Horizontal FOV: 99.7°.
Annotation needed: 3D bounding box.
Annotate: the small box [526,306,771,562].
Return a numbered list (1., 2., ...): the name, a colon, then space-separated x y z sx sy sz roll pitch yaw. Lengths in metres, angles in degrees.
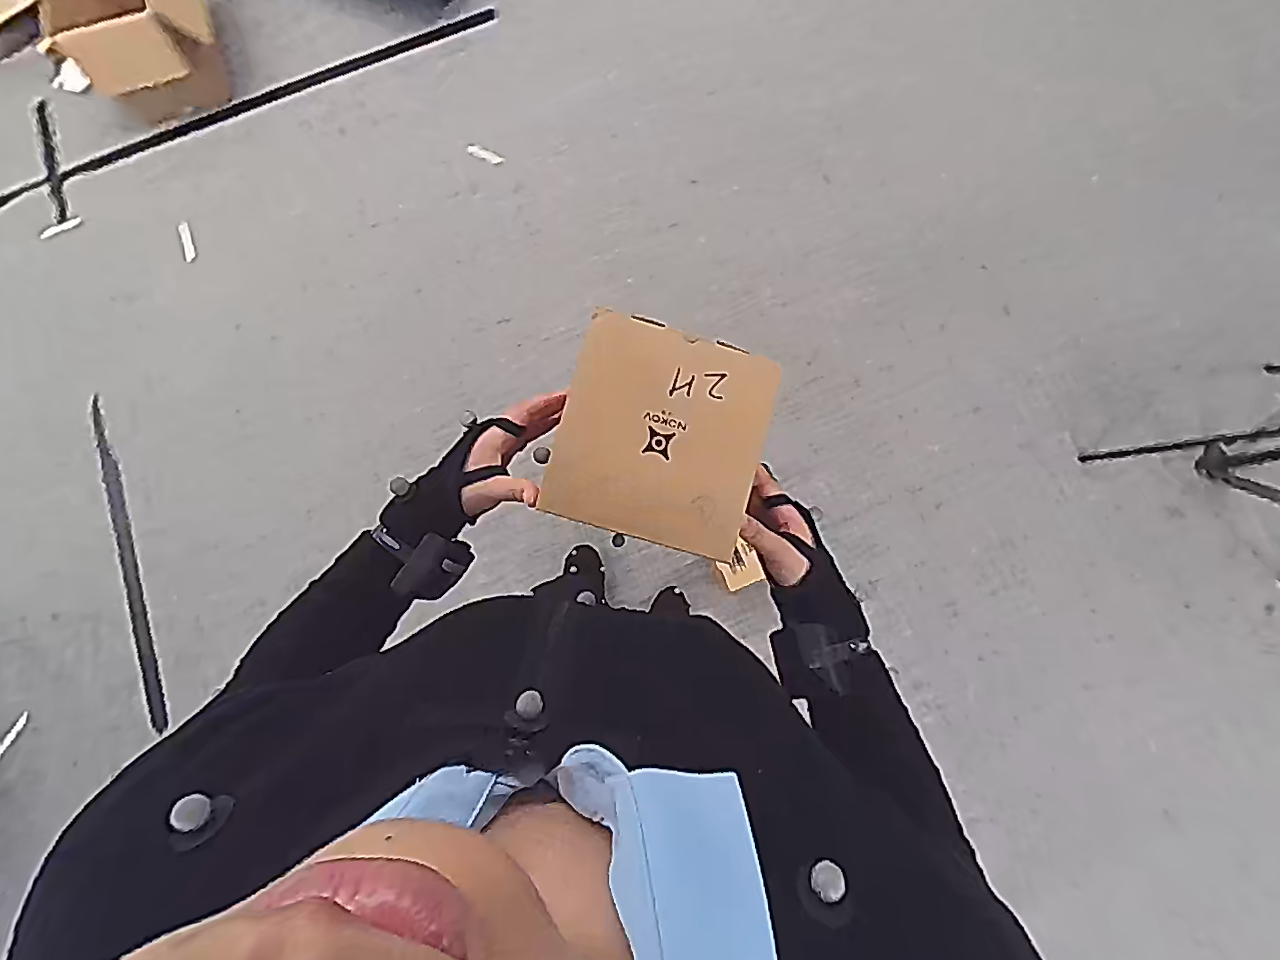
1. small box: 0.003 -0.032 0.514 0.168 0.176 0.179 15 85 -5
